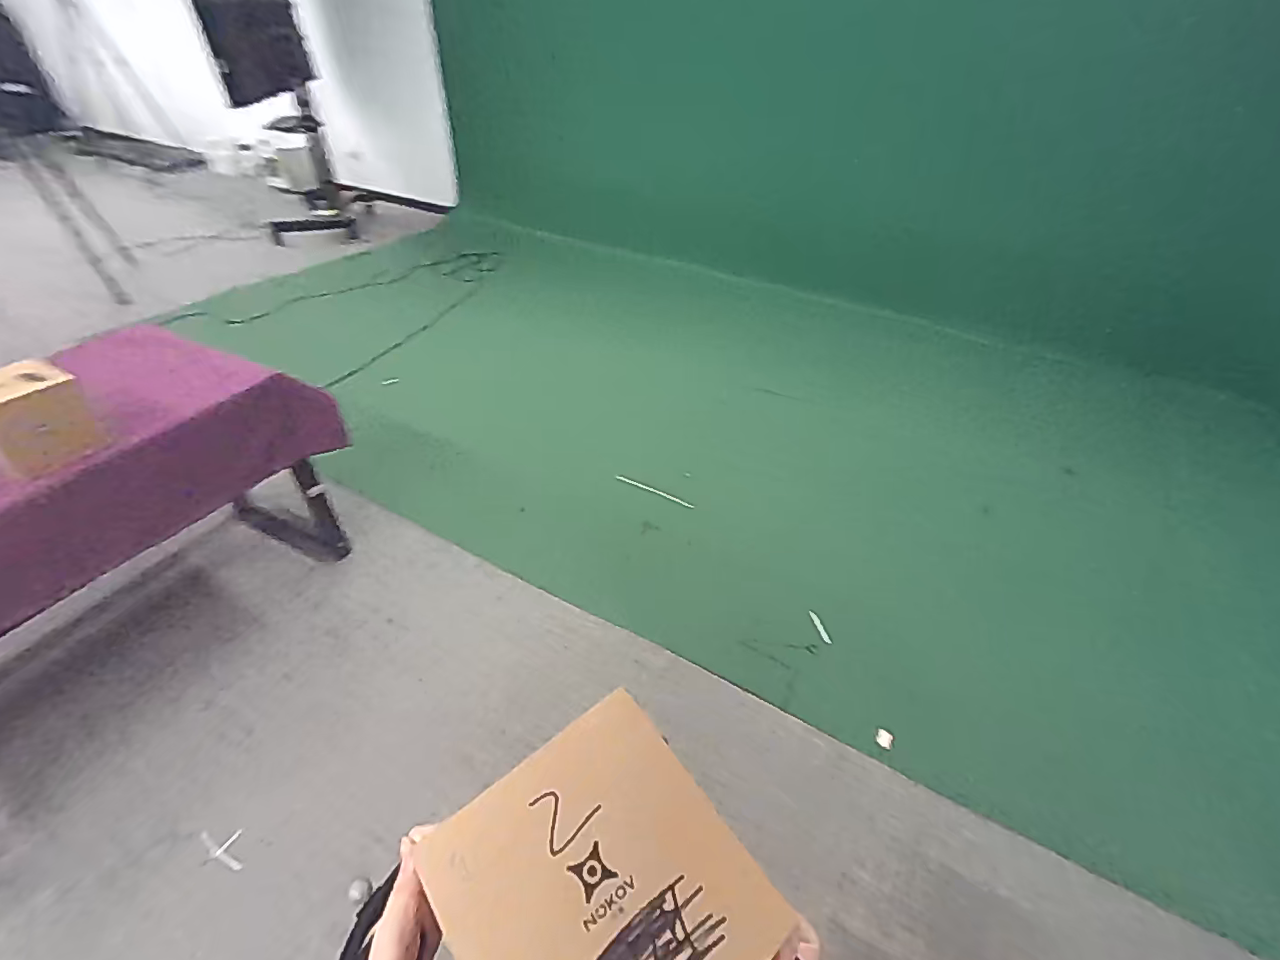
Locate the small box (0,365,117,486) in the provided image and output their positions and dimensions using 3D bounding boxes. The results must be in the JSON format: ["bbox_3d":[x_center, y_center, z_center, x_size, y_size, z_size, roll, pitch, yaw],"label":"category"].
[{"bbox_3d":[-1.290,-0.118,1.163,0.168,0.176,0.179,21,44,21],"label":"small box"}]
